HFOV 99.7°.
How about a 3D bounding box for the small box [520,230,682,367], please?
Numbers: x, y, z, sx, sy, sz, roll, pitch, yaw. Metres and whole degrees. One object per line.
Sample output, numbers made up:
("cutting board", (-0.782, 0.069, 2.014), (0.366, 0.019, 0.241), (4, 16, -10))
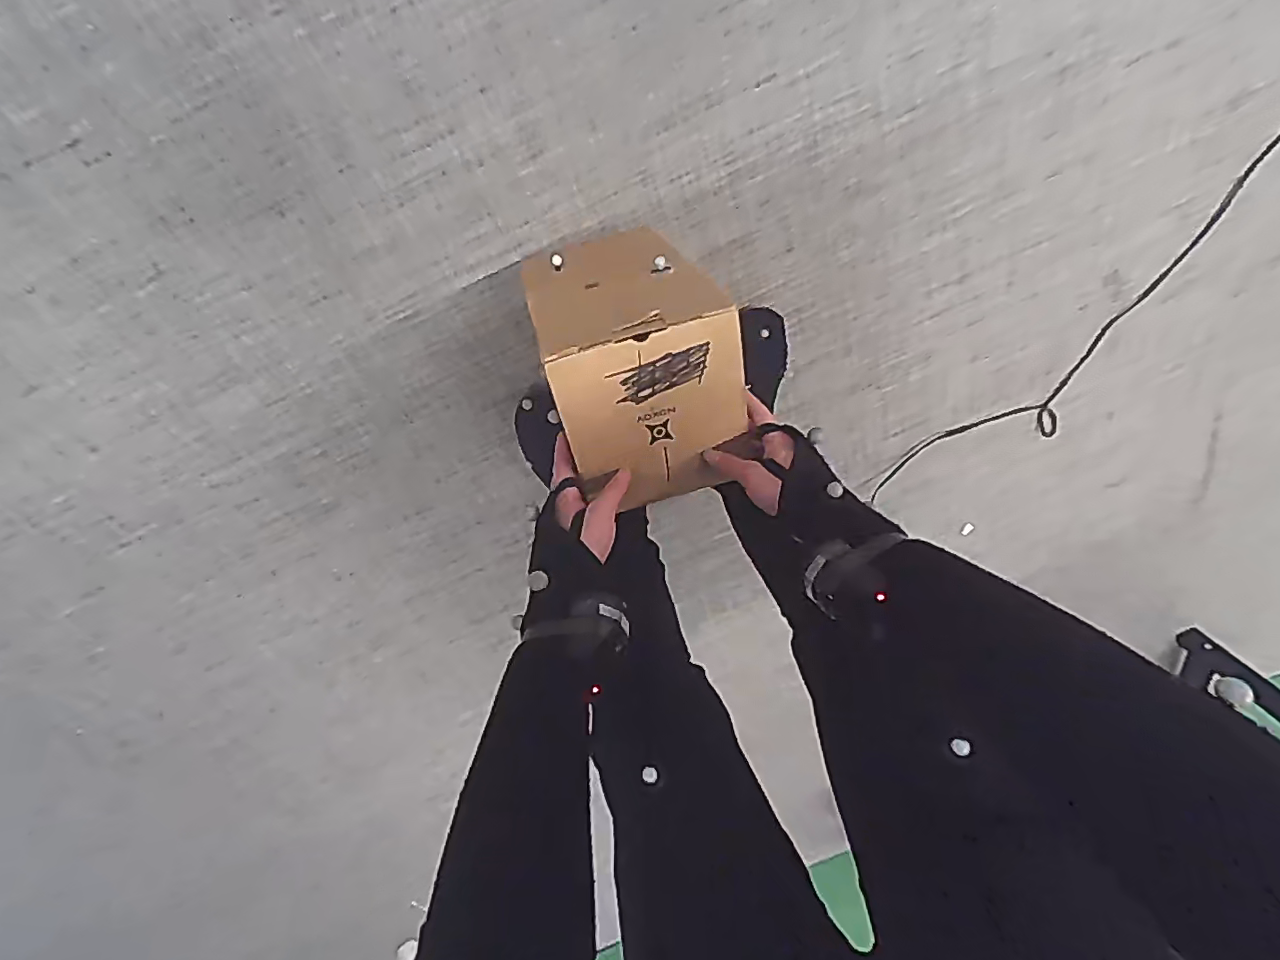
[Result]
("small box", (-0.042, -0.193, 0.674), (0.179, 0.176, 0.168), (-17, 127, -4))

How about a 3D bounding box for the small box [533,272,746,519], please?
("small box", (-0.004, -0.095, 0.545), (0.168, 0.176, 0.179), (-16, 128, -3))
